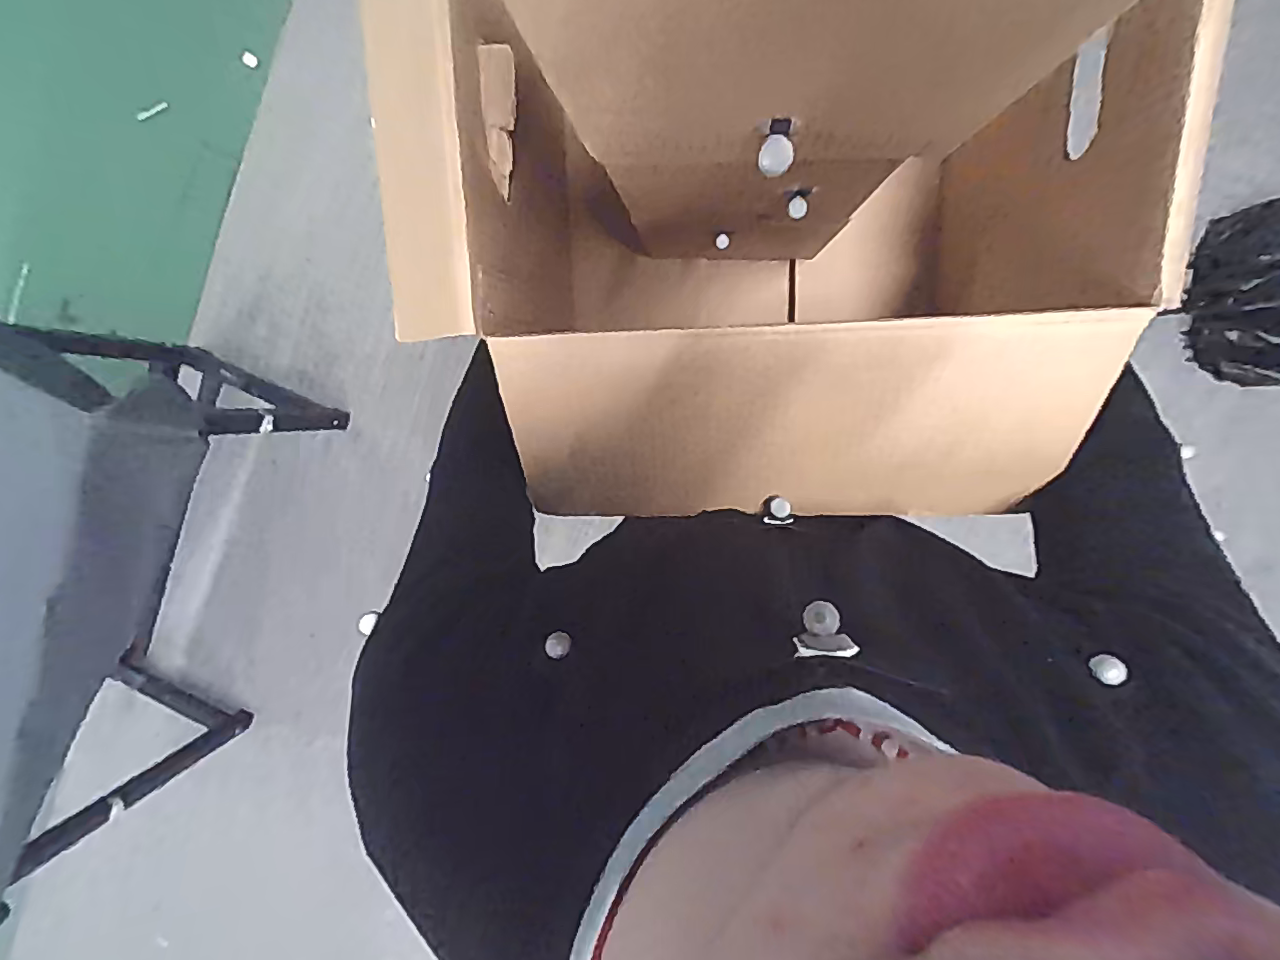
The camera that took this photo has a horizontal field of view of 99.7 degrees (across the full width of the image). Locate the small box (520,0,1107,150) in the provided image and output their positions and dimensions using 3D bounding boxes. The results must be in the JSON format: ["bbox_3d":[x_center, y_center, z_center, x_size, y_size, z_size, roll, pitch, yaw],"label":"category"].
[{"bbox_3d":[0.055,-0.221,0.165,0.179,0.176,0.168,2,103,5],"label":"small box"}]
